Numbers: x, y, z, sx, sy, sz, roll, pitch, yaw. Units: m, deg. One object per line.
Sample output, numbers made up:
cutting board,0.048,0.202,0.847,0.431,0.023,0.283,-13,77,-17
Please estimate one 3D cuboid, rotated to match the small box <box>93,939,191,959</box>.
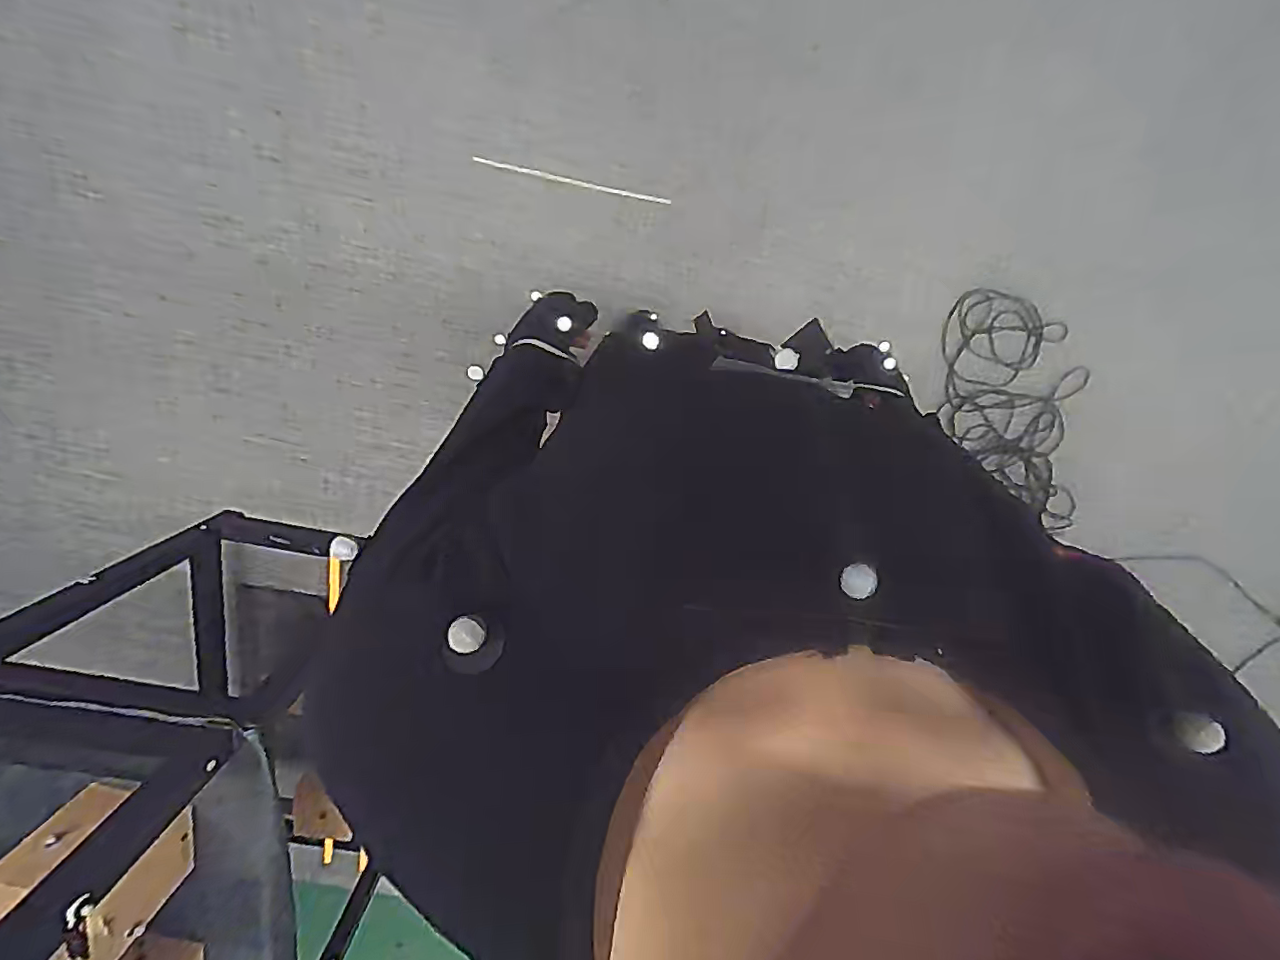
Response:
small box,-0.953,0.995,0.981,0.168,0.176,0.179,14,107,-4
